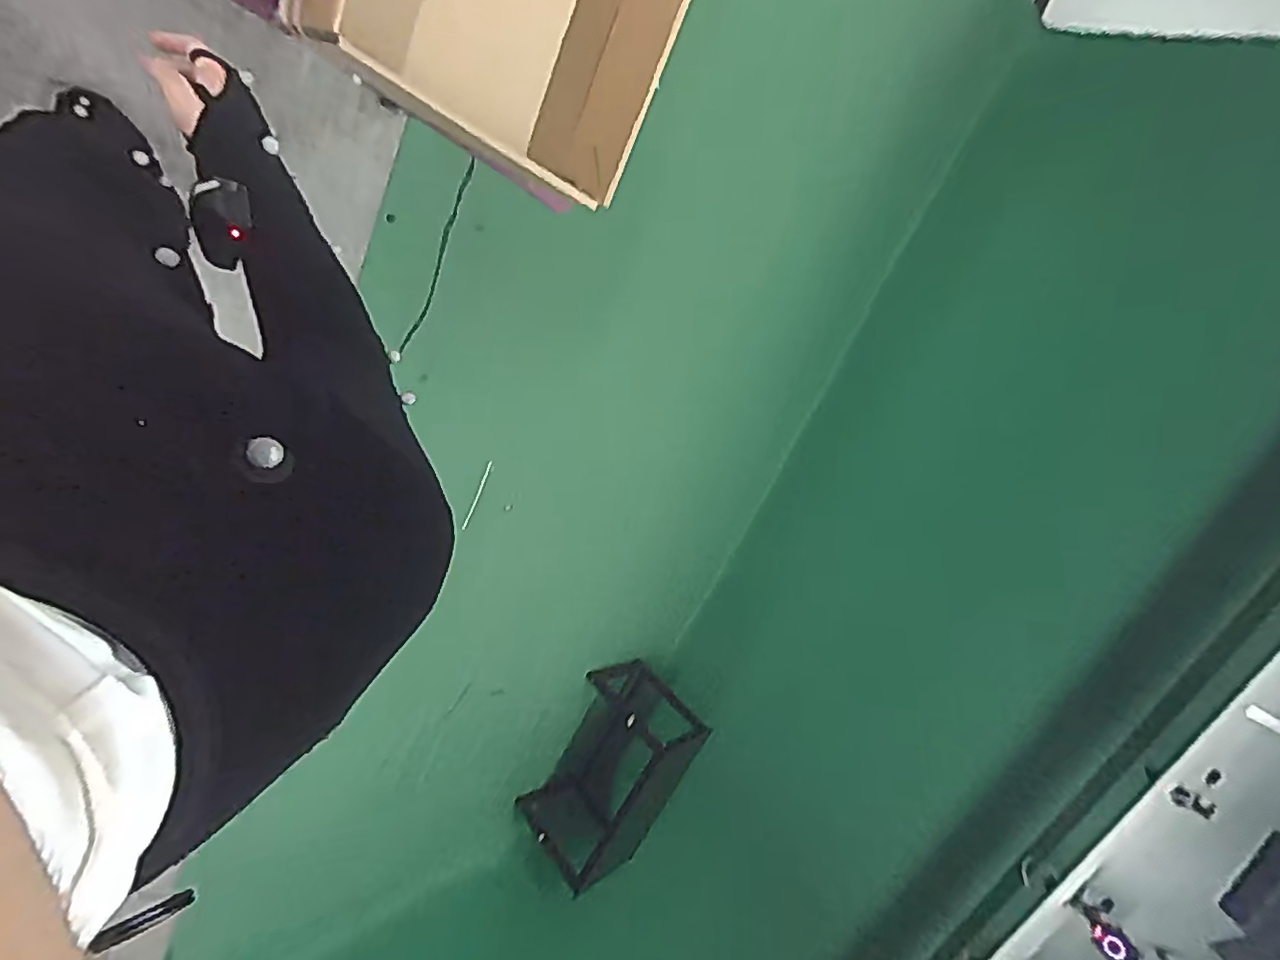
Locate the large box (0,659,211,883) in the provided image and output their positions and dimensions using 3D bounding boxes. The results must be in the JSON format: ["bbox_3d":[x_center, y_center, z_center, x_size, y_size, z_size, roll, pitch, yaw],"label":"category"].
[{"bbox_3d":[-1.543,0.798,1.518,0.408,0.320,0.320,-30,141,-32],"label":"large box"}]
